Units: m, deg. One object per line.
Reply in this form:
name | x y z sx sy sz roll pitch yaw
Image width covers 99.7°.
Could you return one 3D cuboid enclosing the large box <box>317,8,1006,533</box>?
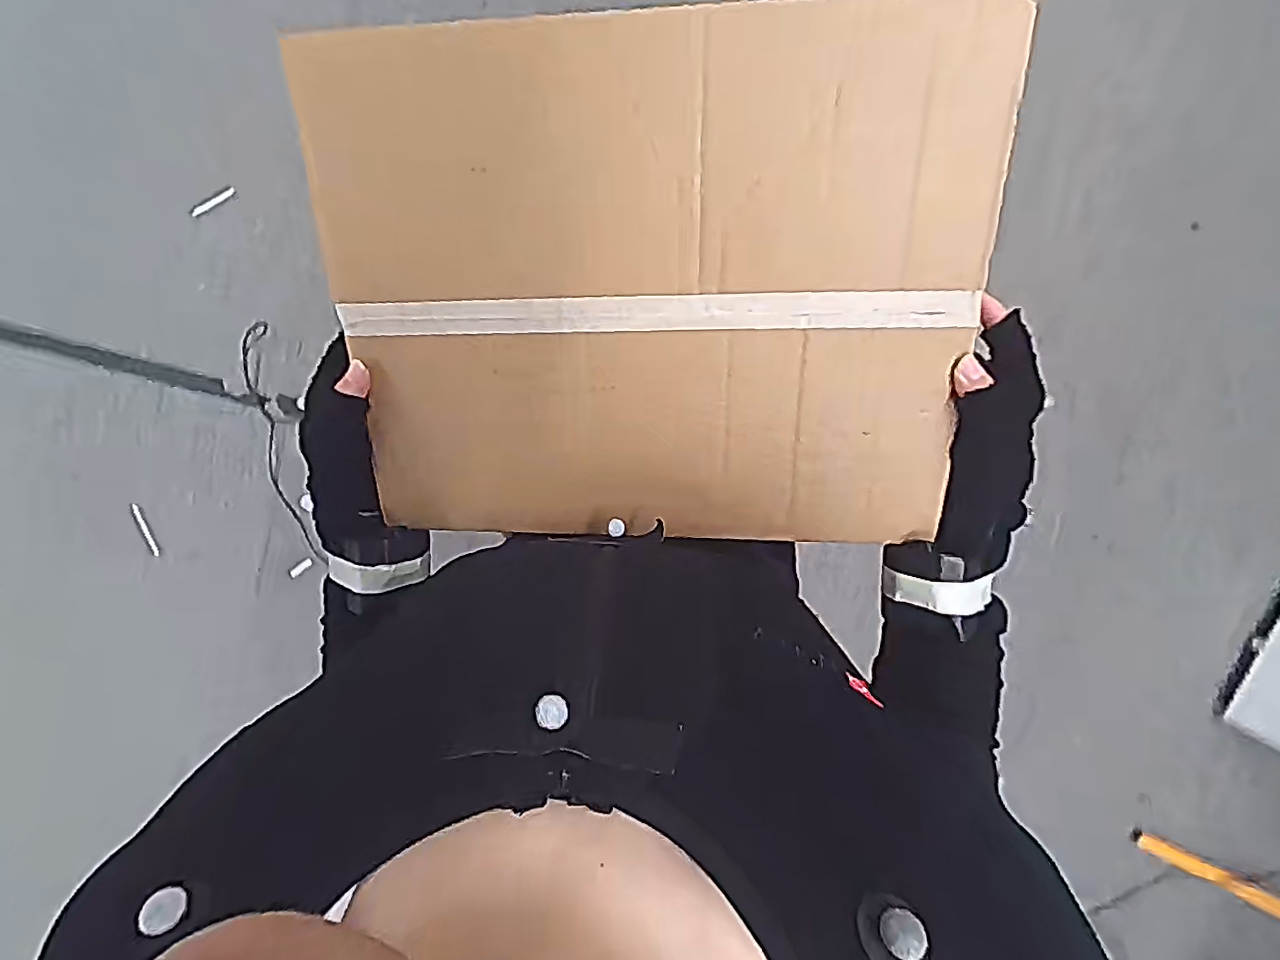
large box | 0.018 -0.156 0.497 0.408 0.320 0.320 0 112 6
